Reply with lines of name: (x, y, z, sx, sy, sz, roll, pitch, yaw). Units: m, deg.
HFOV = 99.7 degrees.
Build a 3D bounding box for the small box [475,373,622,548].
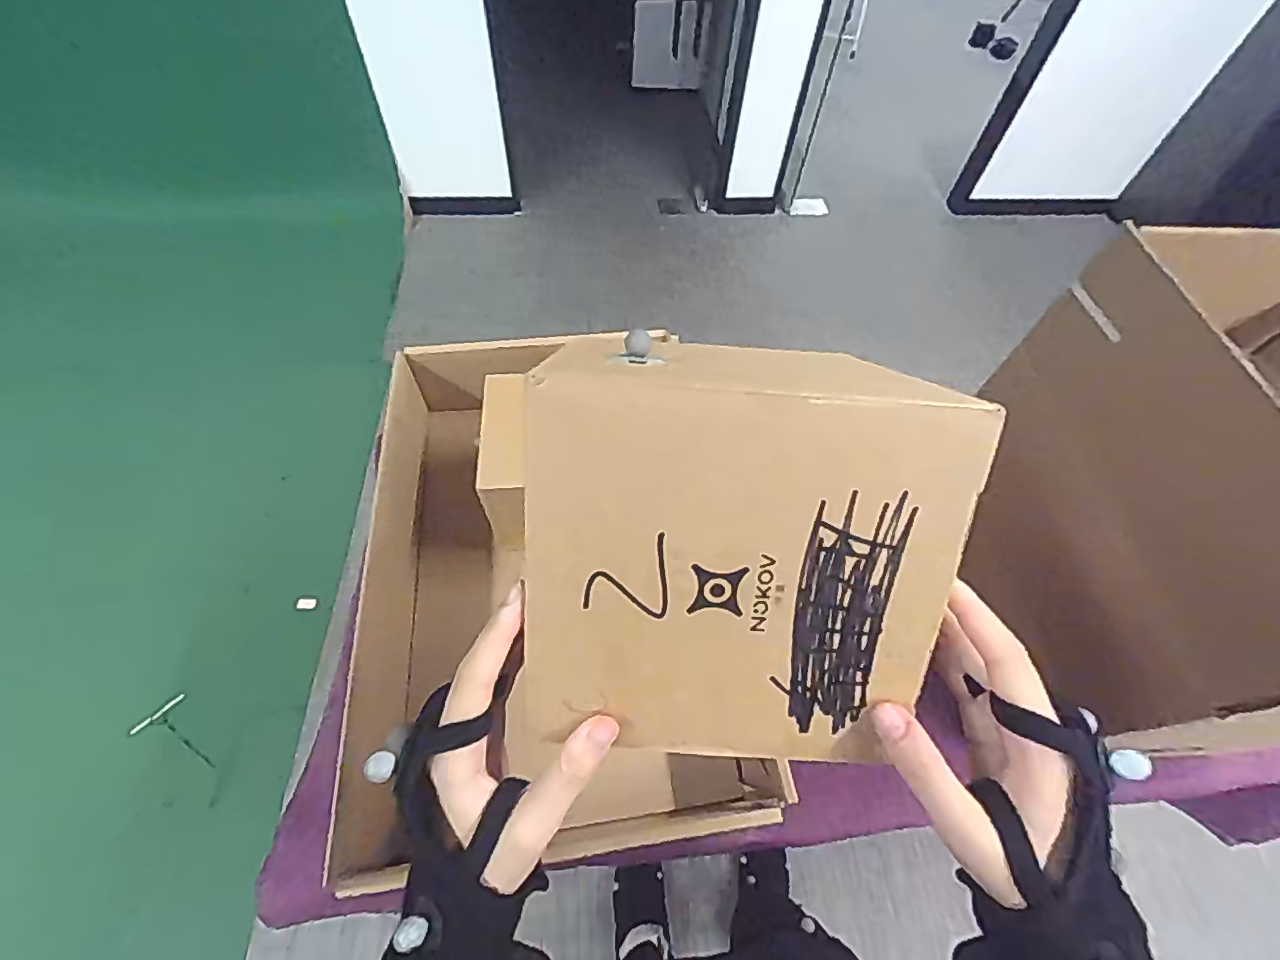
small box: (-0.112, -0.018, 0.719, 0.168, 0.176, 0.179, -4, 58, -4)
